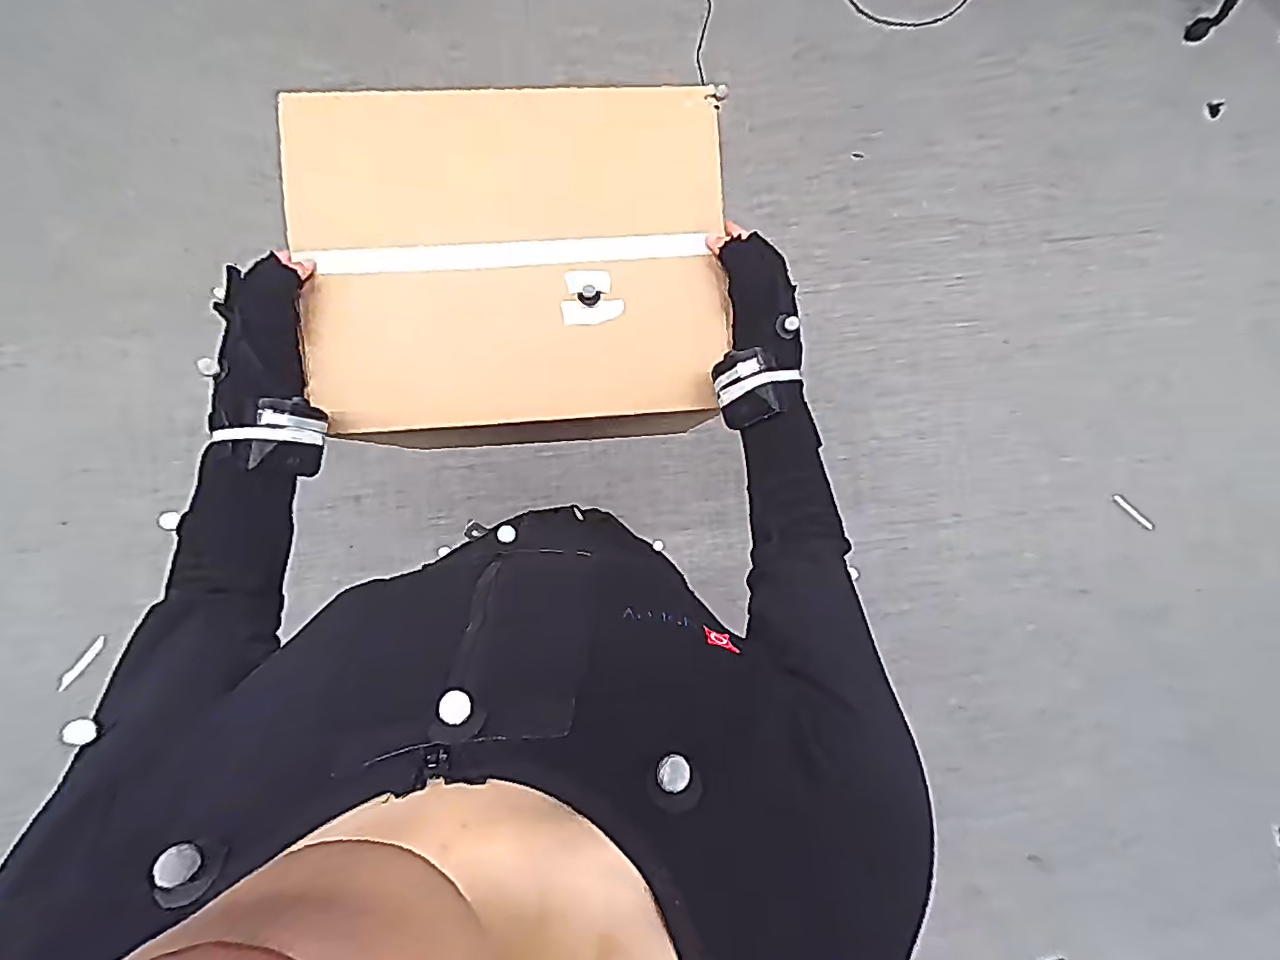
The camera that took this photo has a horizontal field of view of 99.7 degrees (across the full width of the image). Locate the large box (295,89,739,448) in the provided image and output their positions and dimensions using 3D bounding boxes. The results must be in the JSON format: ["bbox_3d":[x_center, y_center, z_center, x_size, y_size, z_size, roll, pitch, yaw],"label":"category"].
[{"bbox_3d":[-0.125,-0.217,0.665,0.408,0.320,0.320,-5,91,-5],"label":"large box"}]
